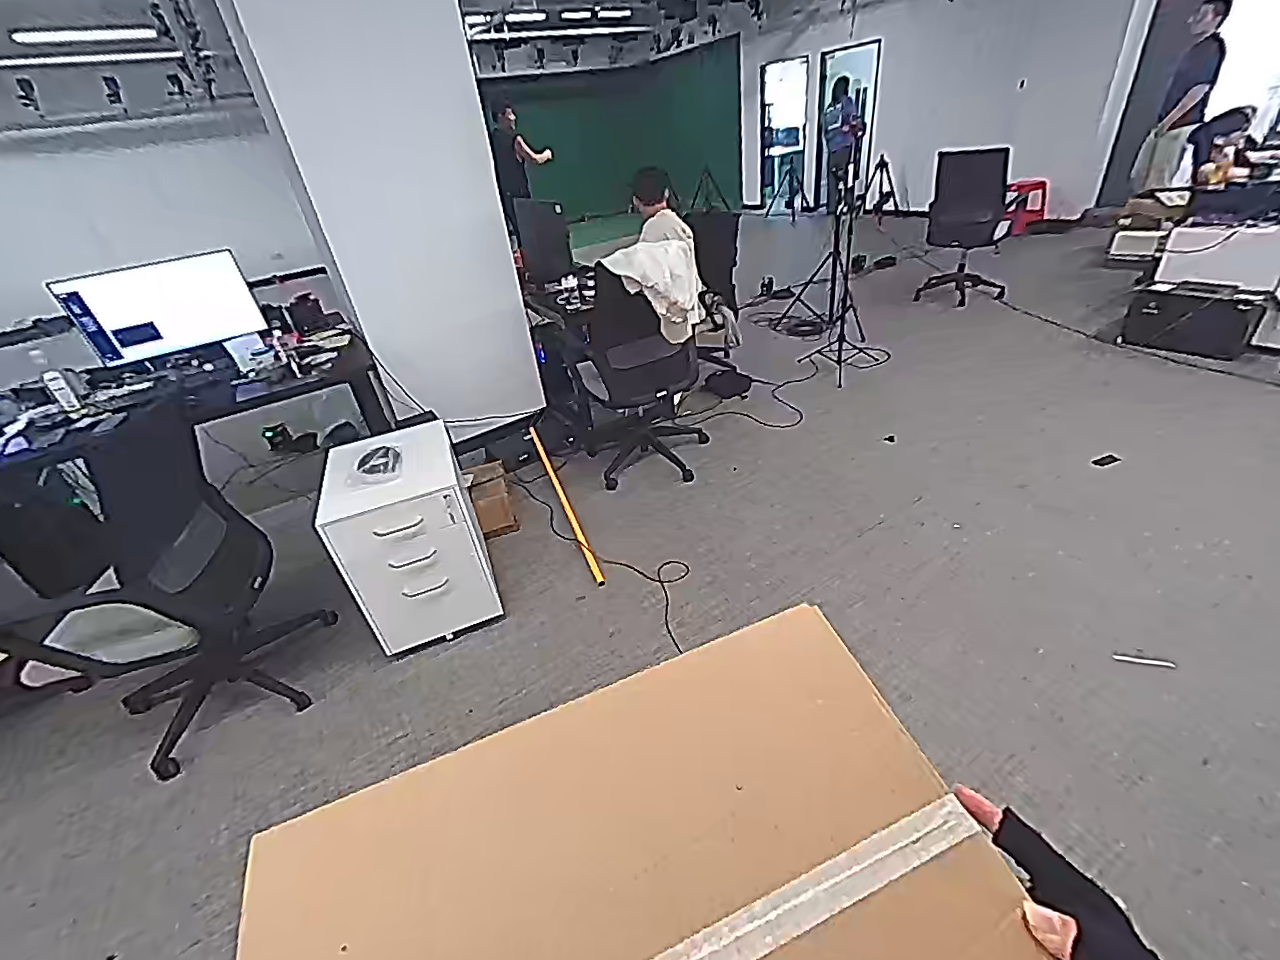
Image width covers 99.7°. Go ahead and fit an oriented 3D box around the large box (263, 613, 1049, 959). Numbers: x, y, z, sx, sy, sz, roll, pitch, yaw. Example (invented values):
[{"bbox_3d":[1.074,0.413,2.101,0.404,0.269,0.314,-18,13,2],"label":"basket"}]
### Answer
[{"bbox_3d":[0.016,0.368,0.396,0.408,0.320,0.320,-19,47,-12],"label":"large box"}]
